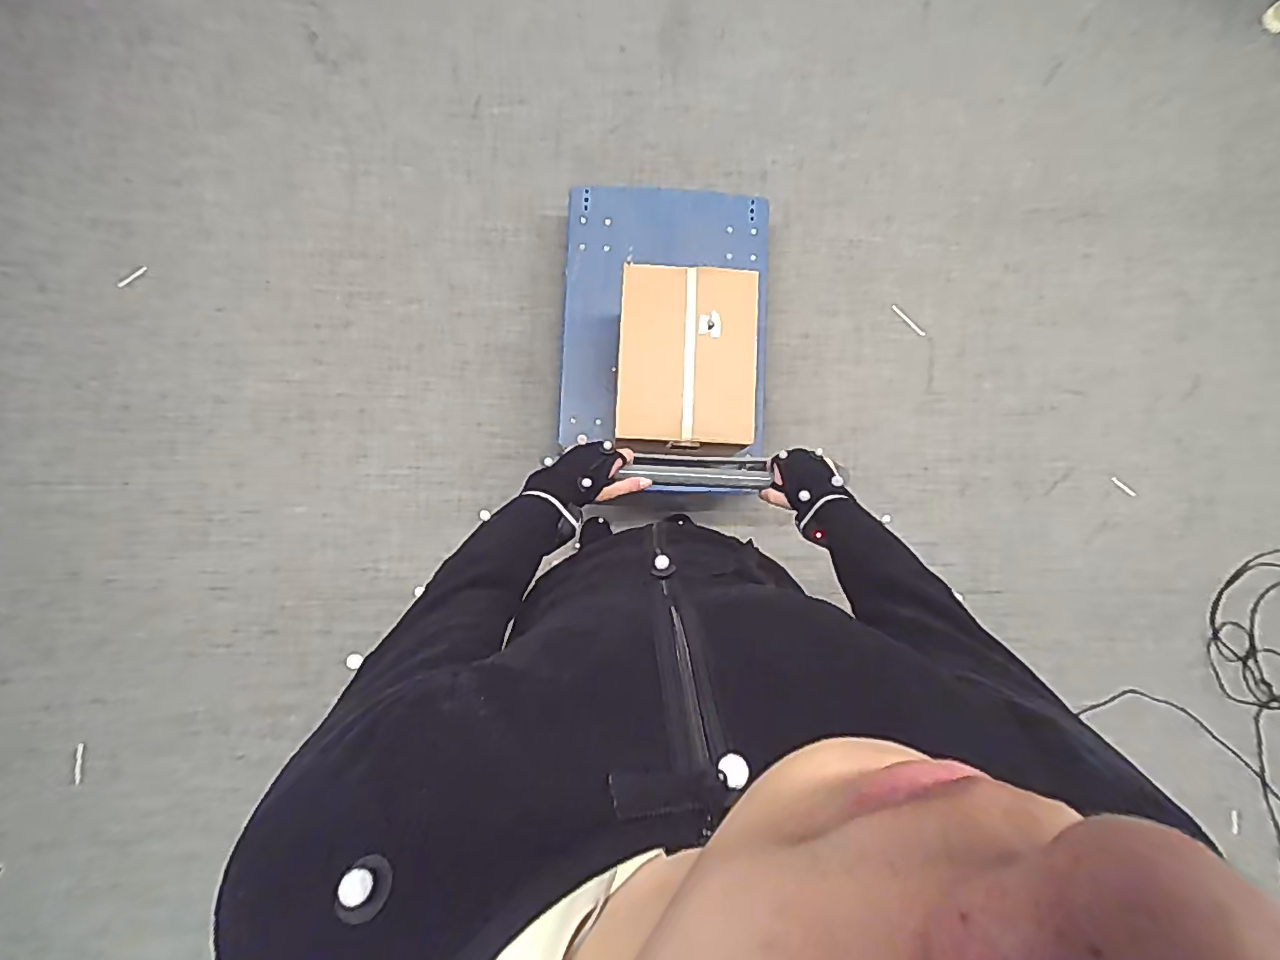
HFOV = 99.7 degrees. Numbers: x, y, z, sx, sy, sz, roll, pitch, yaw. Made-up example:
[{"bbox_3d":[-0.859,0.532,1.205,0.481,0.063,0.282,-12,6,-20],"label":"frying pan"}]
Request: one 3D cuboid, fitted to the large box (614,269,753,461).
[{"bbox_3d":[0.094,-0.264,1.365,0.320,0.320,0.408,2,84,-3],"label":"large box"}]
